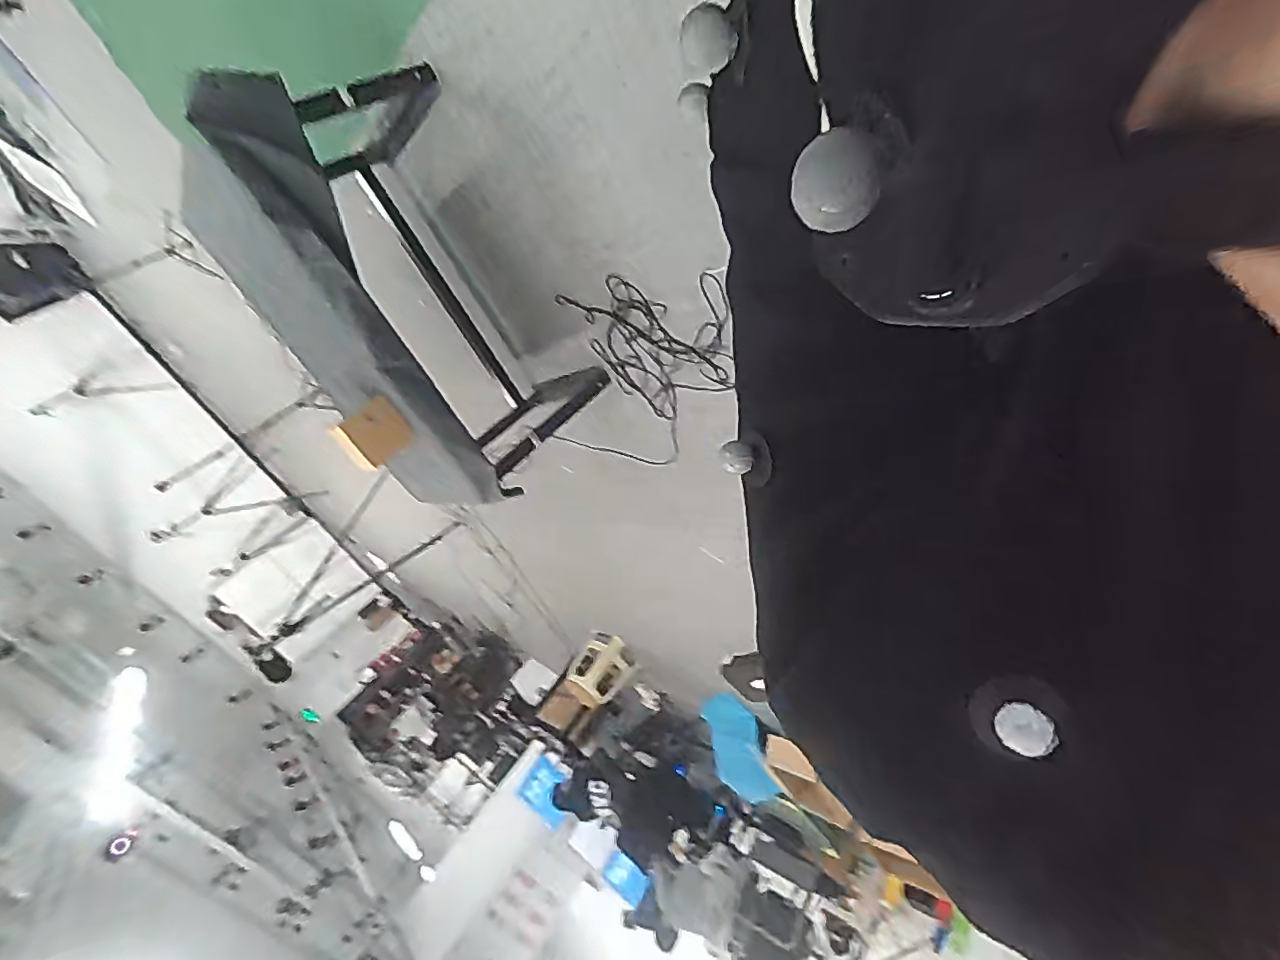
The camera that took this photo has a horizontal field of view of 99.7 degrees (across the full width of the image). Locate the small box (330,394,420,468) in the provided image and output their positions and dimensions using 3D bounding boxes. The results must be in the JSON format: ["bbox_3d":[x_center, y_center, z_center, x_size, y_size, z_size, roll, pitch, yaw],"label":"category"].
[{"bbox_3d":[-0.848,-0.162,1.733,0.168,0.176,0.179,-4,125,52],"label":"small box"}]
